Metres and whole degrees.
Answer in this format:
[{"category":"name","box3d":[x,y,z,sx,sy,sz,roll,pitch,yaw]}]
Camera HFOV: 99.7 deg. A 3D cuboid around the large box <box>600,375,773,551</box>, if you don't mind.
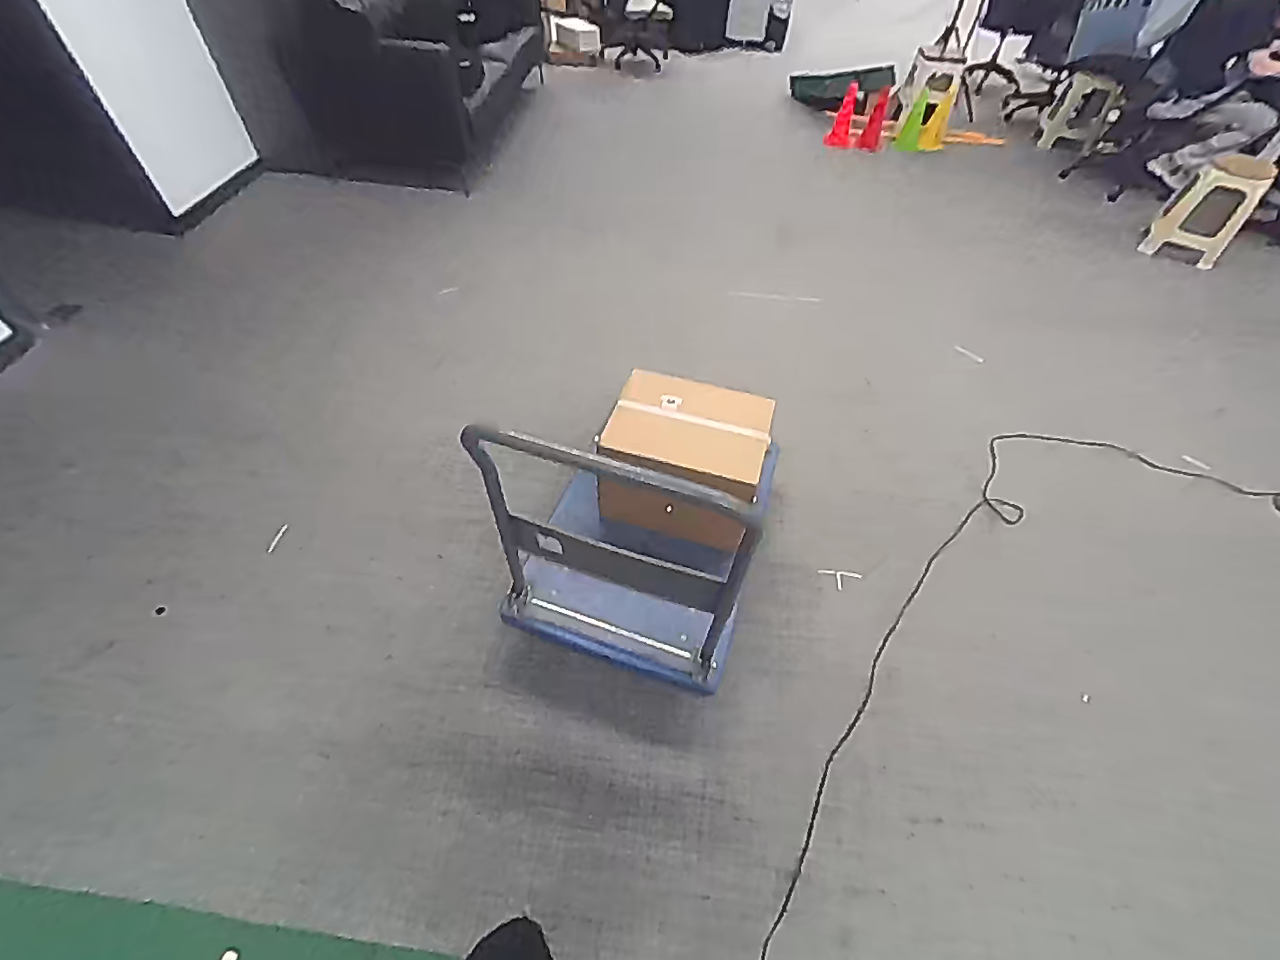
[{"category":"large box","box3d":[0.128,-0.046,1.517,0.408,0.320,0.320,15,50,9]}]
